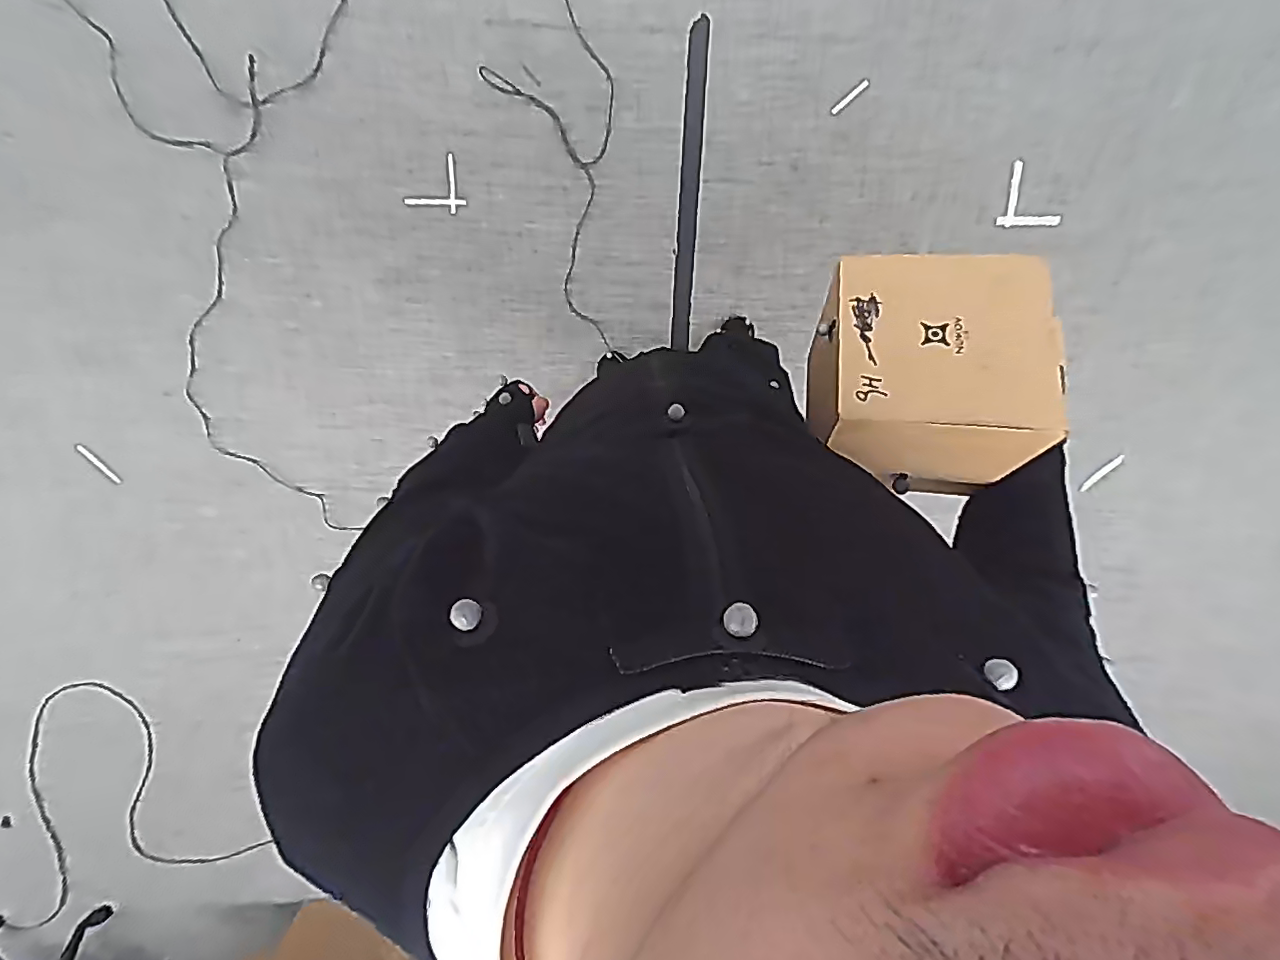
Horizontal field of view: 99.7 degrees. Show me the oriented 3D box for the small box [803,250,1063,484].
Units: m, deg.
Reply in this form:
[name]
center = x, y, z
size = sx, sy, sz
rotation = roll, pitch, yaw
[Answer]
[small box]
center = 0.272, -0.102, 0.542
size = 0.179, 0.176, 0.168
rotation = 5, 71, 9
